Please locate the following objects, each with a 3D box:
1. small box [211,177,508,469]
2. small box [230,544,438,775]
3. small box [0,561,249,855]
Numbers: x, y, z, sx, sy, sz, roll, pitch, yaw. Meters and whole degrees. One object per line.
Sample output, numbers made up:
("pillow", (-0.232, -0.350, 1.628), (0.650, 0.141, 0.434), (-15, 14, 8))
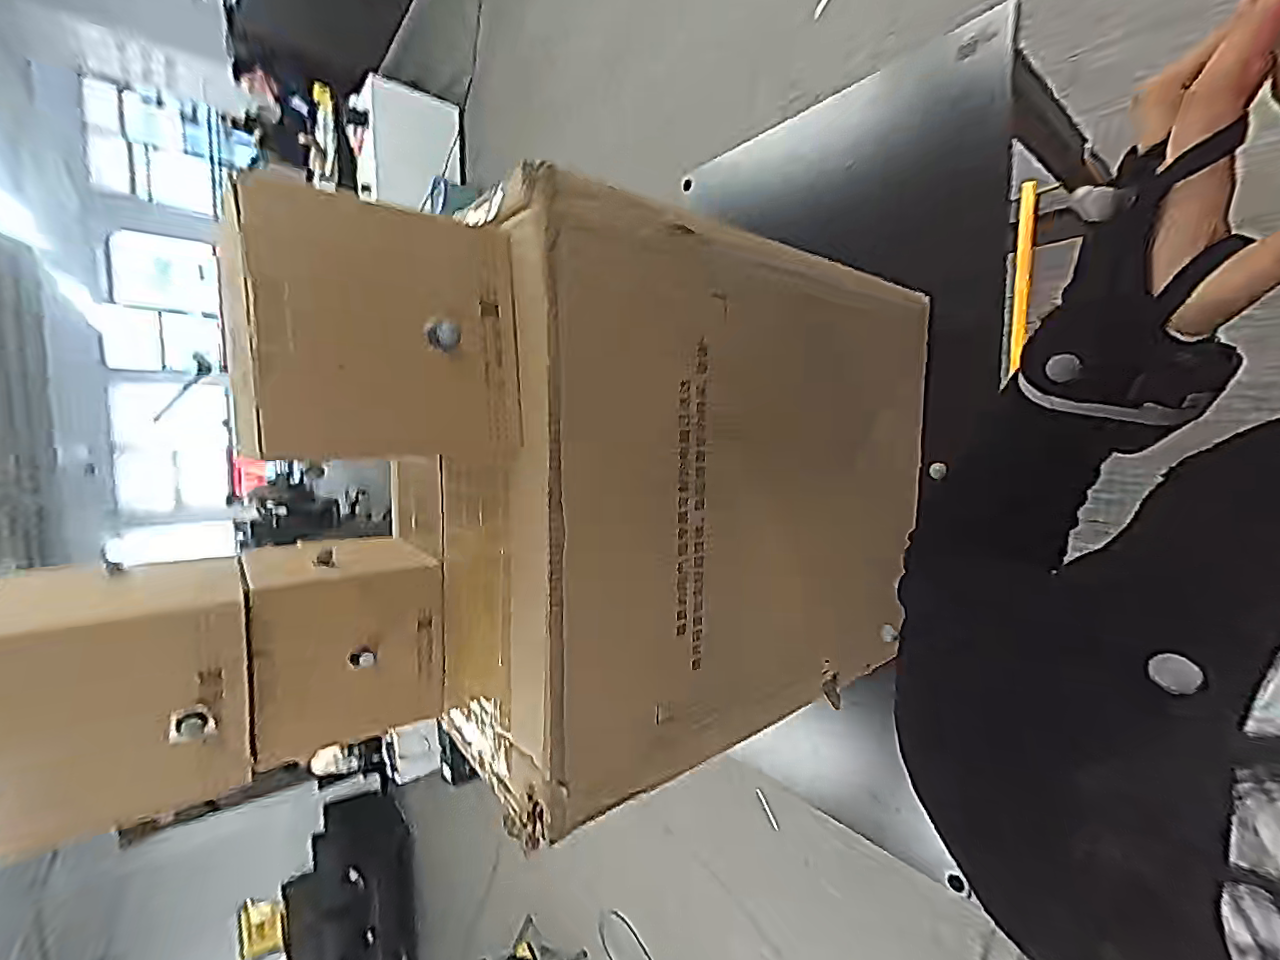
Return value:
("small box", (-0.217, -0.096, 0.419), (0.179, 0.176, 0.168), (2, 96, 50))
("small box", (-0.324, 0.167, 0.577), (0.179, 0.176, 0.168), (7, 97, 51))
("small box", (-0.442, 0.172, 0.463), (0.179, 0.176, 0.168), (9, 101, 51))
